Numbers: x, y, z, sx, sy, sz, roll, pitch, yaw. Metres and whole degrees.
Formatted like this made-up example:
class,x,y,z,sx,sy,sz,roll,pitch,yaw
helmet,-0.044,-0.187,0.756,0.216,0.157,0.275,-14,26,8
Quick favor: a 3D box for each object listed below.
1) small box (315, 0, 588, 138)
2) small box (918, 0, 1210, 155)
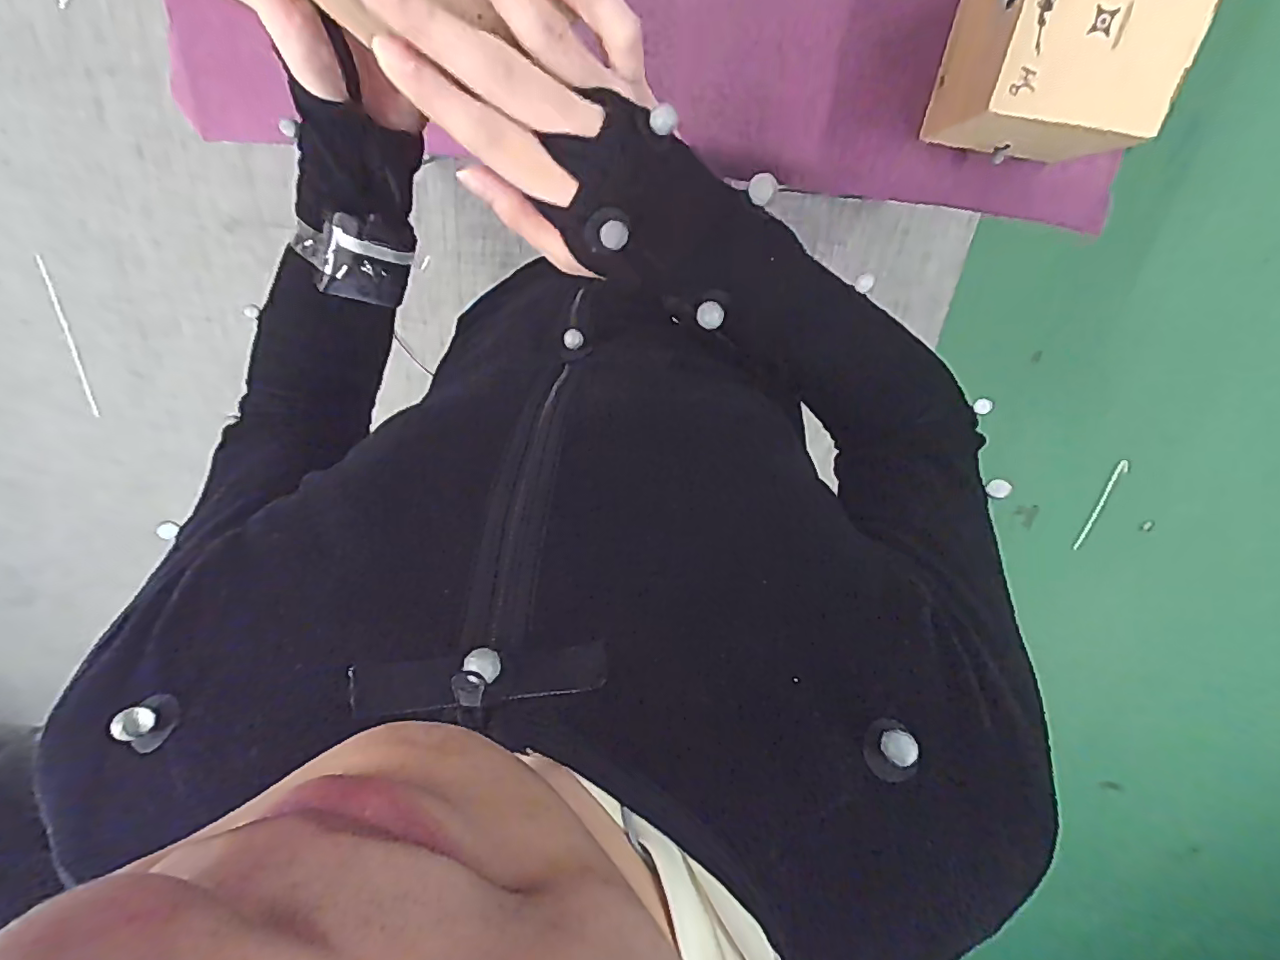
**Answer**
class,x,y,z,sx,sy,sz,roll,pitch,yaw
small box,-0.089,-0.293,0.213,0.179,0.168,0.176,-39,144,23
small box,0.443,-0.464,0.585,0.179,0.176,0.168,9,114,-1
